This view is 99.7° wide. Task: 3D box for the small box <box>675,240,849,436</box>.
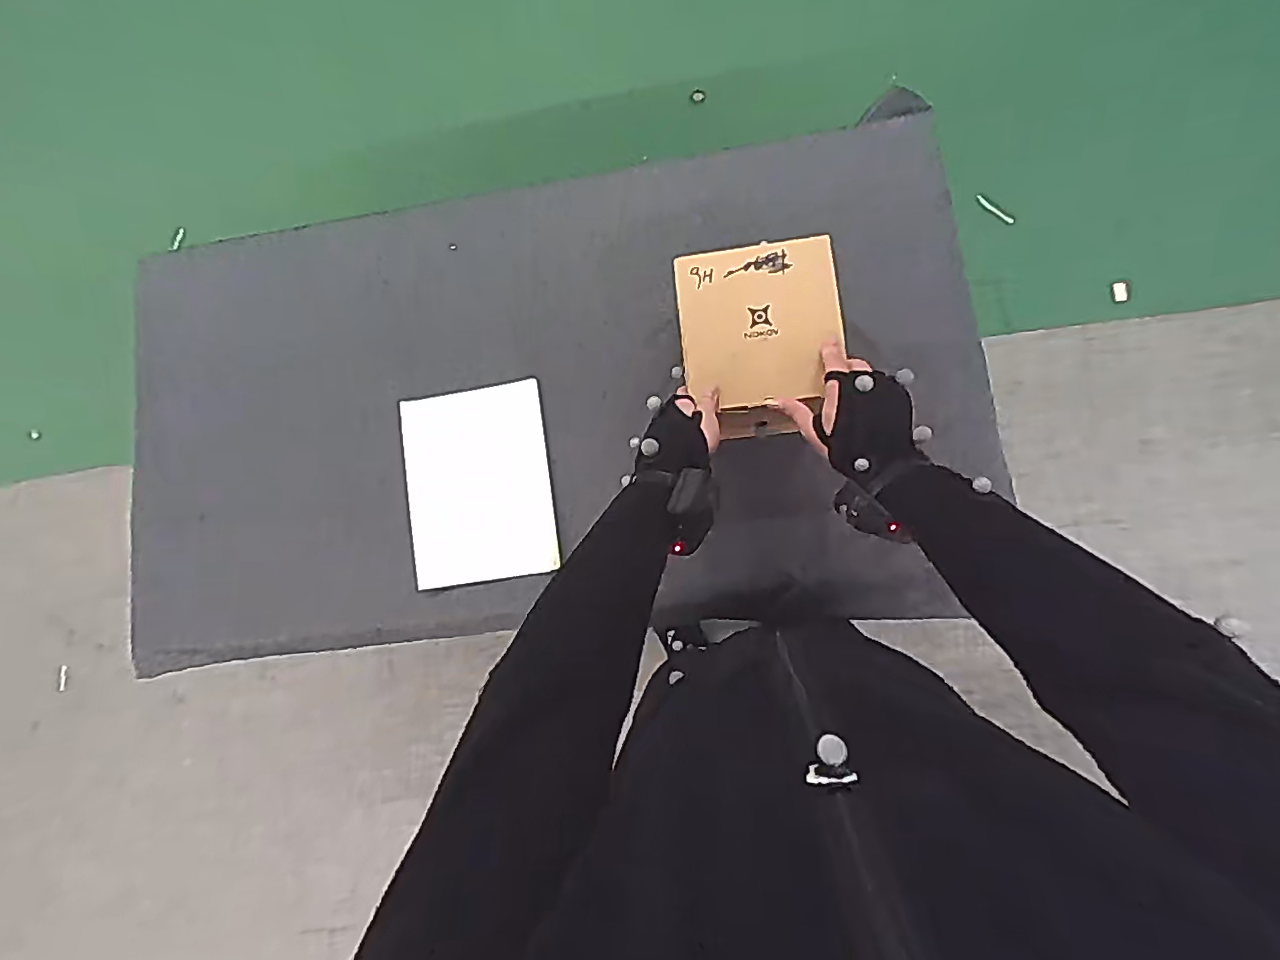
[{"bbox_3d":[0.135,-0.151,0.643,0.168,0.176,0.179,-6,85,6],"label":"small box"}]
